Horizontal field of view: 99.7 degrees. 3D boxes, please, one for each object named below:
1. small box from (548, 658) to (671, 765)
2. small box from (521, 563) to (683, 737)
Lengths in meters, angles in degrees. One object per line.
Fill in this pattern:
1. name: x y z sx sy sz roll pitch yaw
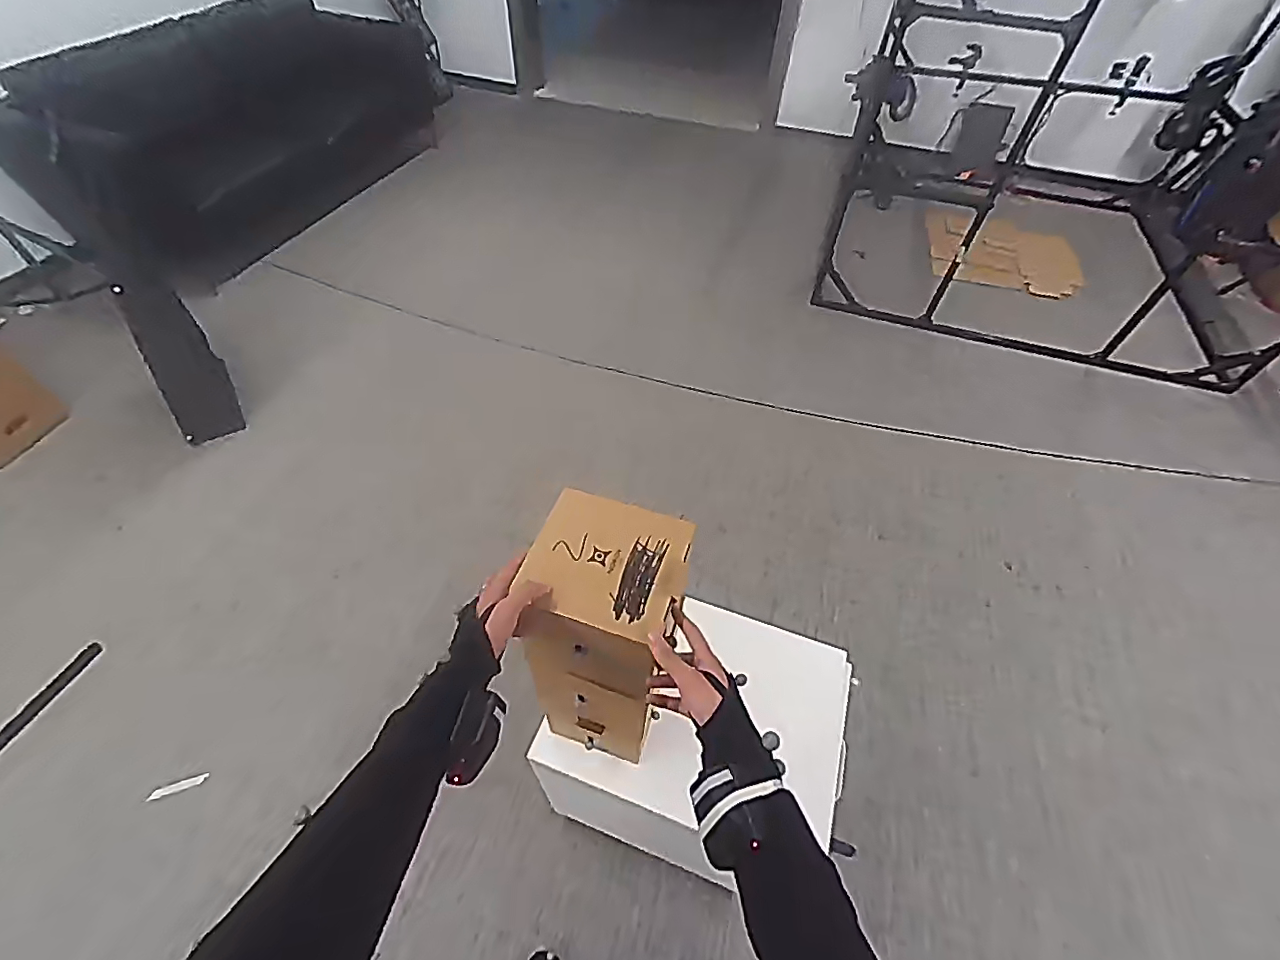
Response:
1. small box: -0.050 0.355 0.925 0.168 0.176 0.179 16 52 11
2. small box: -0.049 0.255 0.794 0.179 0.176 0.168 16 52 12
